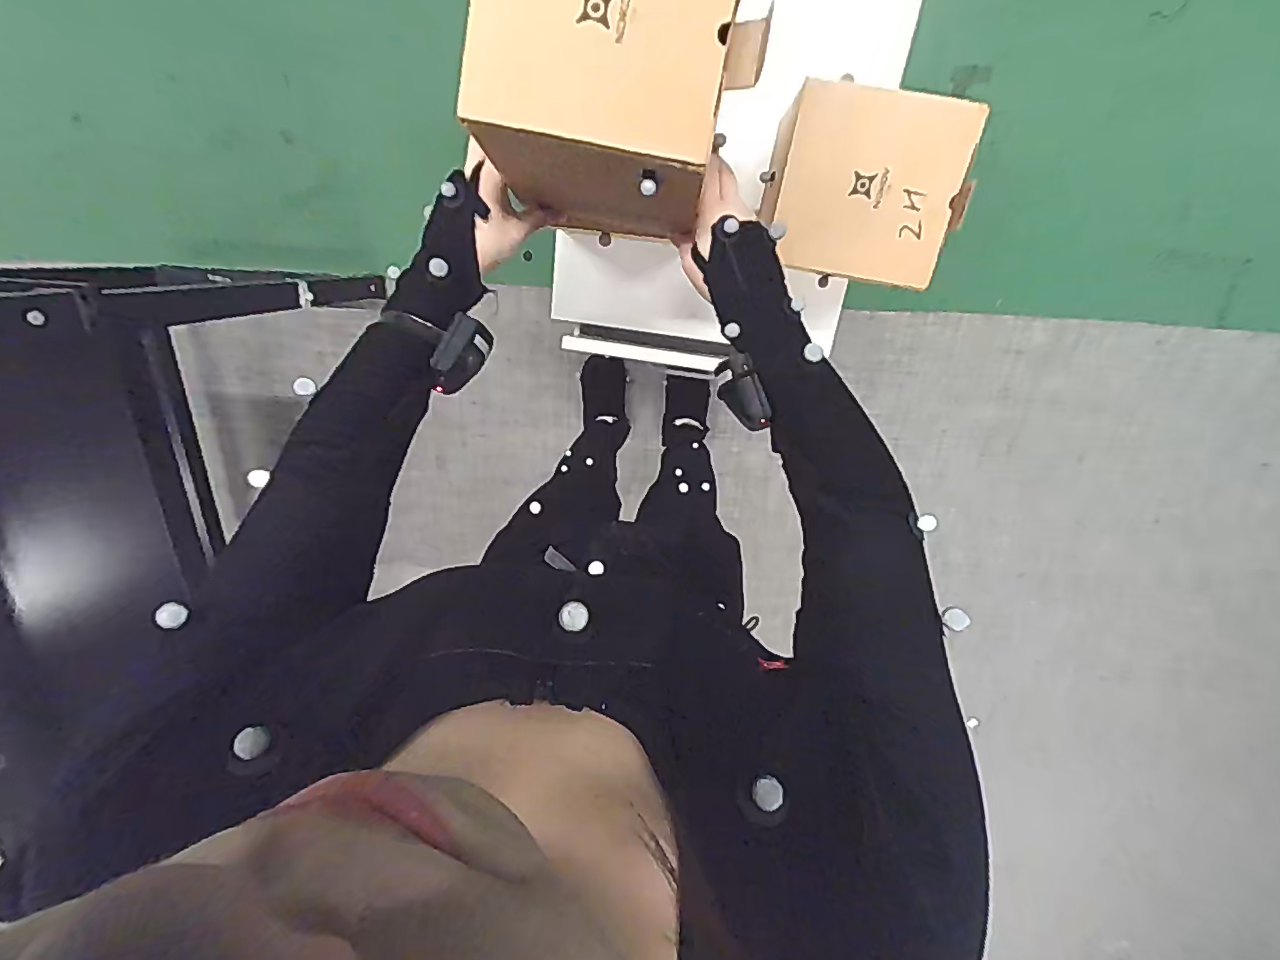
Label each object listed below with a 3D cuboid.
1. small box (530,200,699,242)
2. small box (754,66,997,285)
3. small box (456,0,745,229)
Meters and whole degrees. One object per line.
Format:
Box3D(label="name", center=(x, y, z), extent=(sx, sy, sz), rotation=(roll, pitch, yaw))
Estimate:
Box3D(label="small box", center=(-0.013, -0.362, 0.597), extent=(0.179, 0.176, 0.168), rotation=(7, 113, 1))
Box3D(label="small box", center=(0.233, -0.318, 0.594), extent=(0.179, 0.176, 0.168), rotation=(10, 114, 0))
Box3D(label="small box", center=(-0.020, -0.316, 0.423), extent=(0.179, 0.176, 0.168), rotation=(11, 99, 0))
